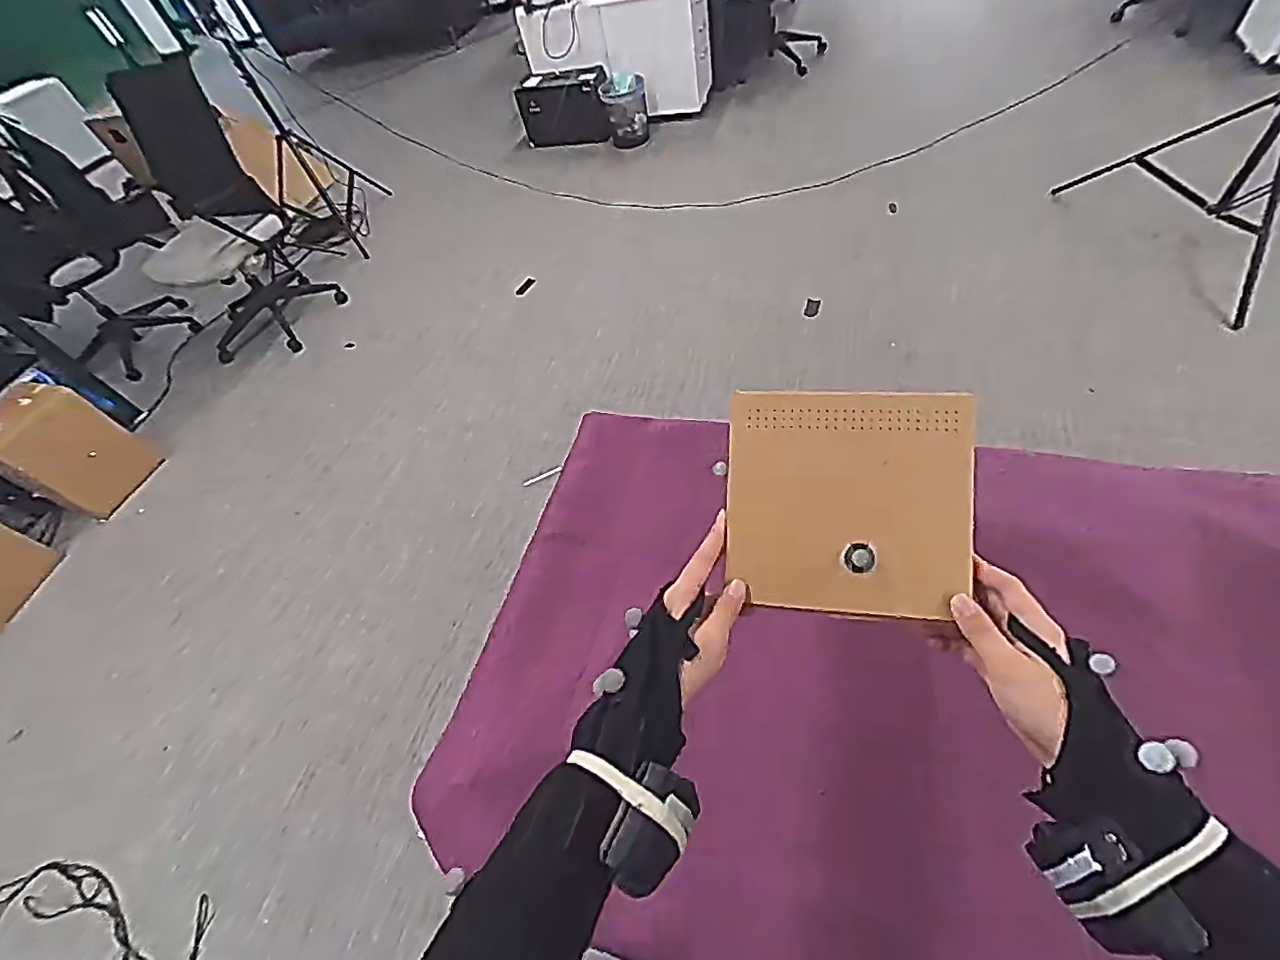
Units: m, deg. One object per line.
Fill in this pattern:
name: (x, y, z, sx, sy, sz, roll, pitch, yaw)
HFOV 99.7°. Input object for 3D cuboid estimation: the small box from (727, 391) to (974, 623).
small box: (0.169, 0.022, 0.478, 0.179, 0.168, 0.176, 3, 84, 11)
